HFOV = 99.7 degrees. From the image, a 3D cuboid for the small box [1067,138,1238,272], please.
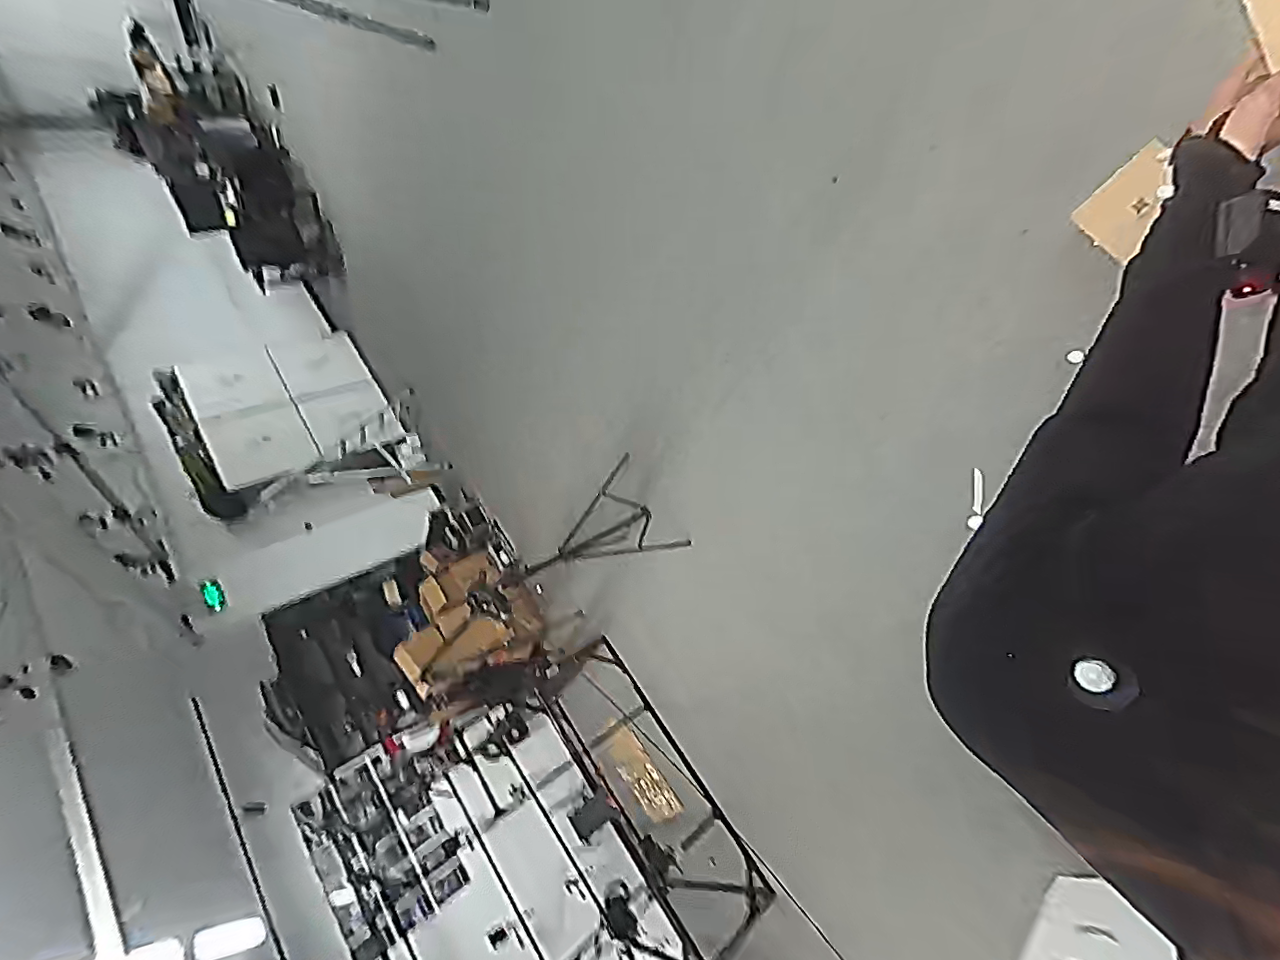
[{"bbox_3d":[1.017,-0.547,1.076,0.179,0.176,0.168,55,146,14],"label":"small box"}]
